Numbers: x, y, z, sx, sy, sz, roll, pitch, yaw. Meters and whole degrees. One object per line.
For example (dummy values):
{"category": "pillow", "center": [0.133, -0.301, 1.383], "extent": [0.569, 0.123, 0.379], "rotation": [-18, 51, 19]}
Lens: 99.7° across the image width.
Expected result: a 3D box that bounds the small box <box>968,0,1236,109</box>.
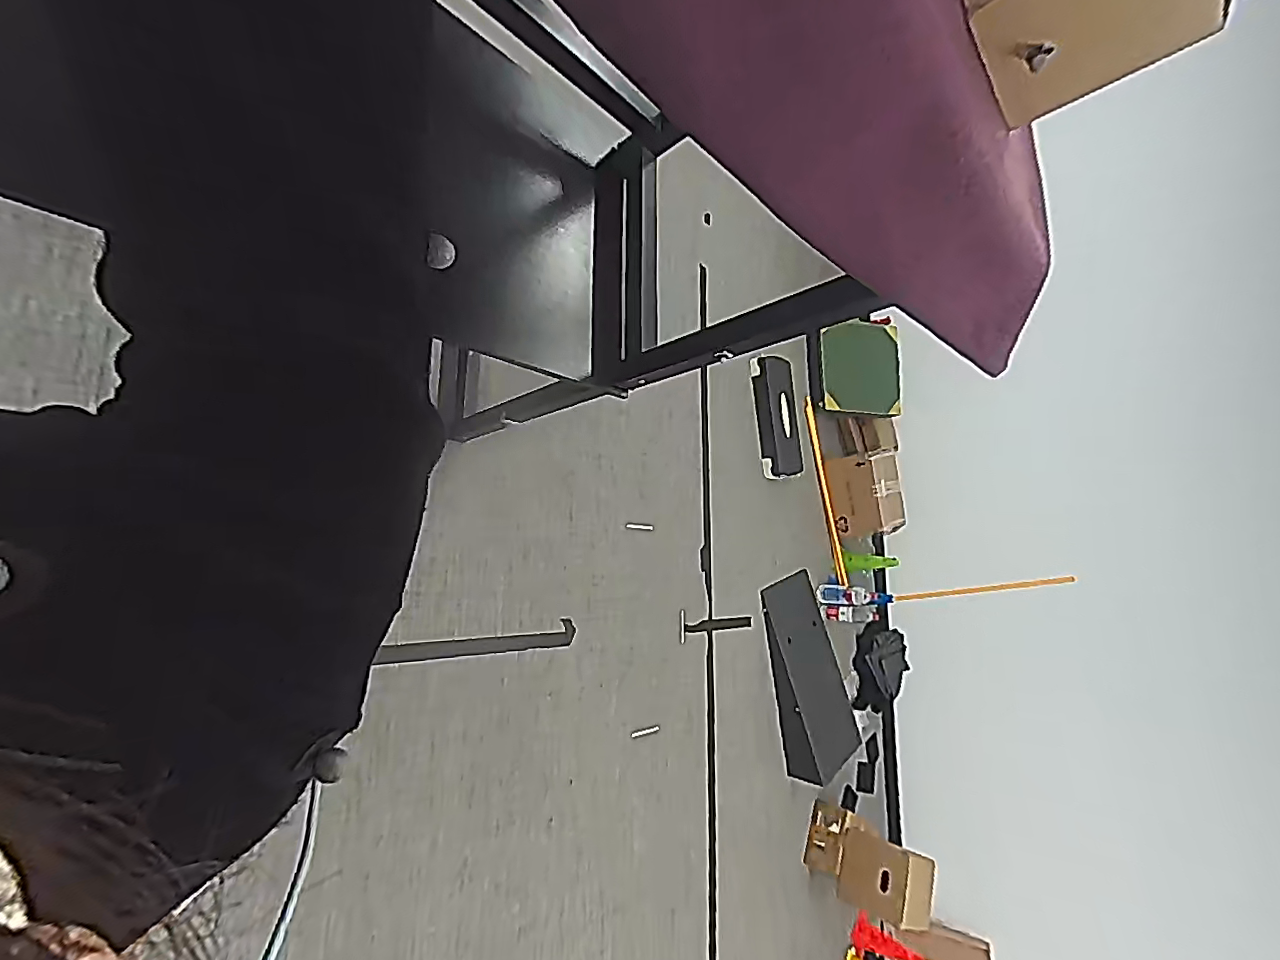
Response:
{"category": "small box", "center": [0.414, -0.491, 0.496], "extent": [0.179, 0.176, 0.168], "rotation": [12, 74, -44]}
